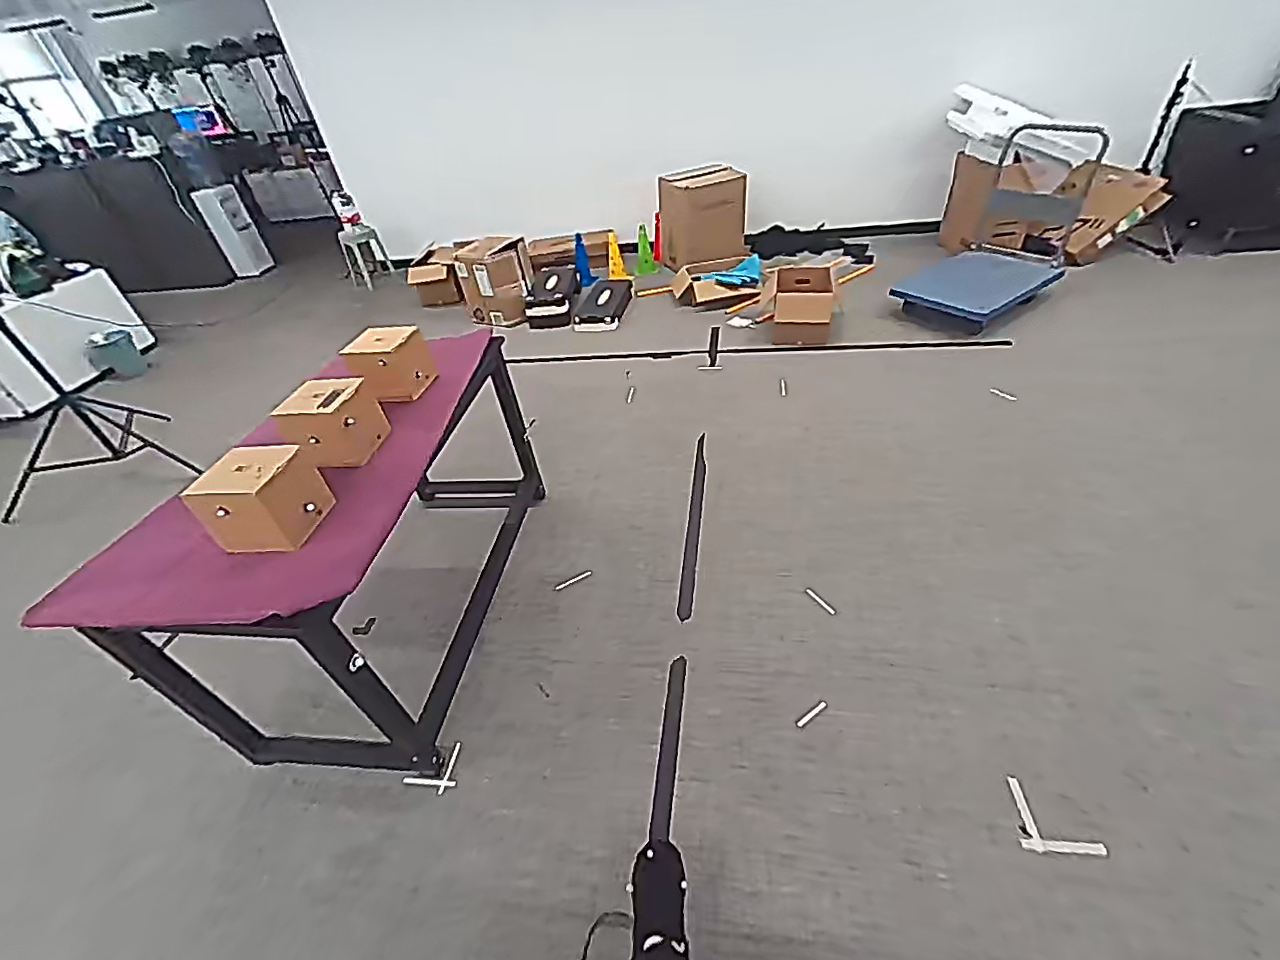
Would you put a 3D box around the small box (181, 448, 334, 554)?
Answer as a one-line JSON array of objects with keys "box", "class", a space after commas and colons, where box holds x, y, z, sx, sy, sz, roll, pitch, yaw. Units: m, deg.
[{"box": [-0.819, 0.048, 1.179, 0.179, 0.176, 0.168, -2, 39, 7], "class": "small box"}]

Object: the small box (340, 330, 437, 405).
[{"box": [-0.752, -0.338, 1.637, 0.179, 0.176, 0.168, 1, 40, 12], "class": "small box"}]
